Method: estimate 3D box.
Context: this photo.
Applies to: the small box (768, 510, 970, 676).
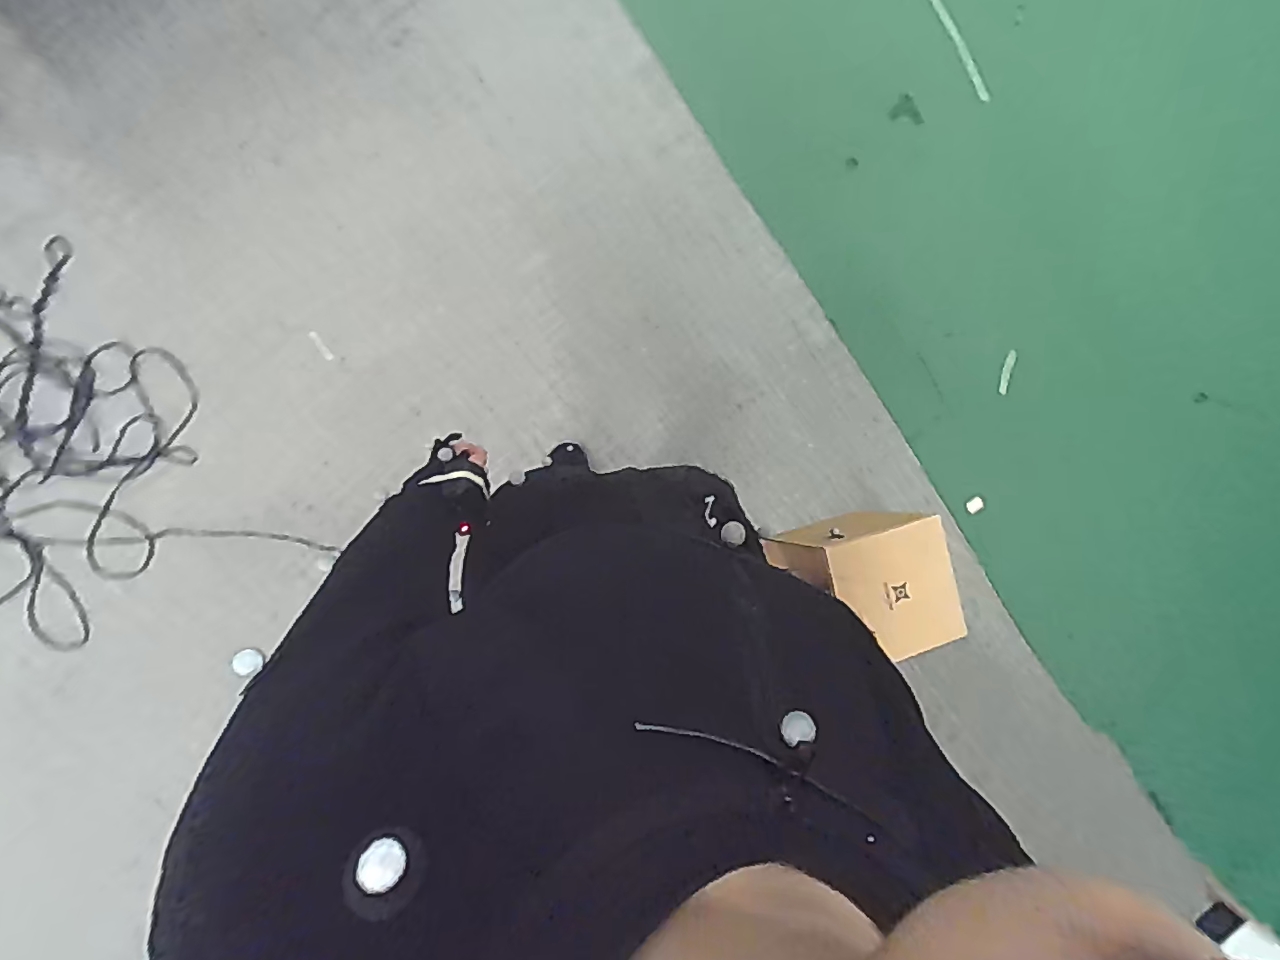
[{"bbox_3d":[0.308,0.141,0.753,0.179,0.176,0.168,-16,92,-13],"label":"small box"}]
